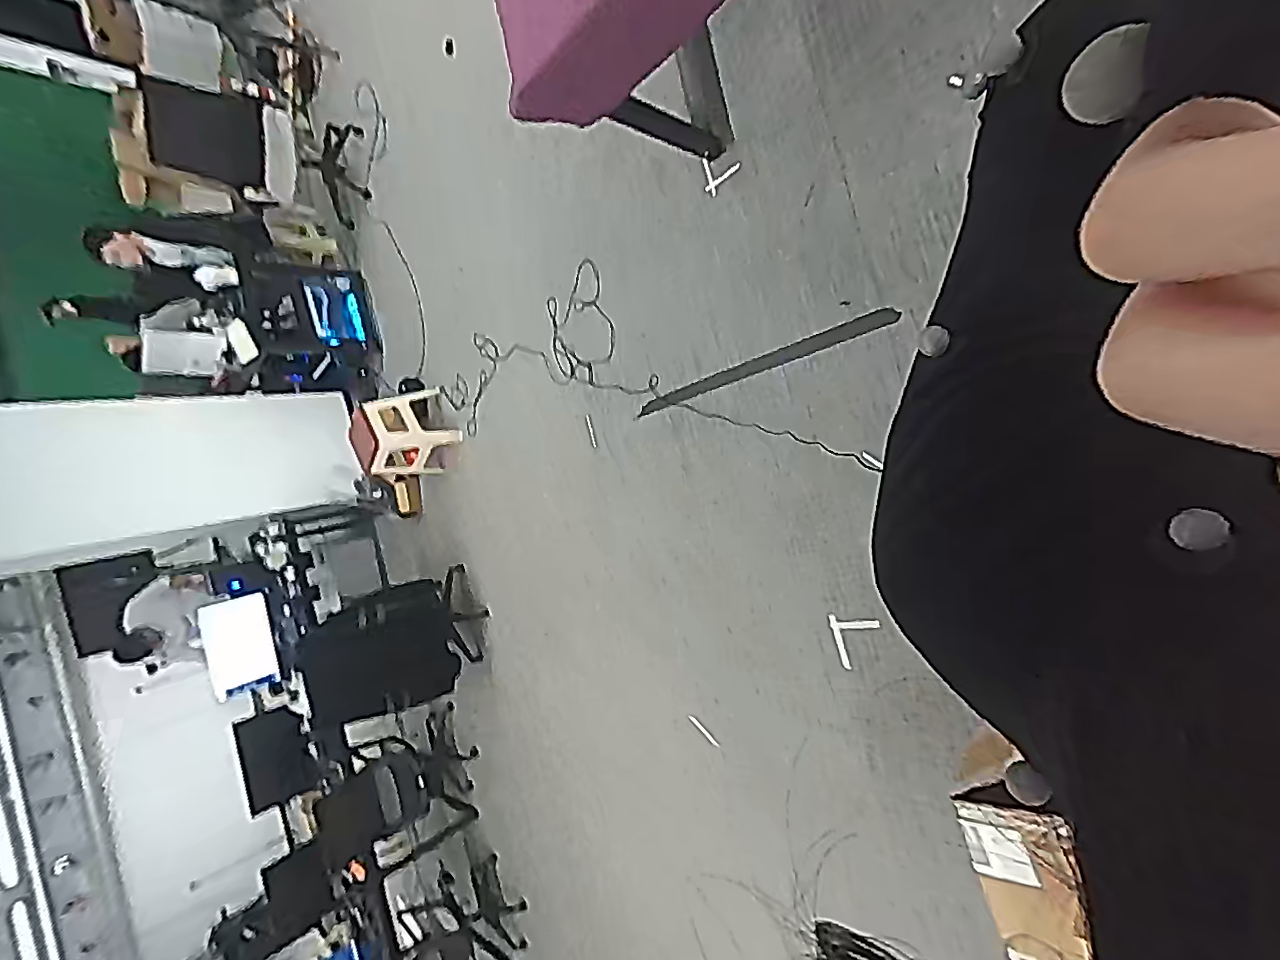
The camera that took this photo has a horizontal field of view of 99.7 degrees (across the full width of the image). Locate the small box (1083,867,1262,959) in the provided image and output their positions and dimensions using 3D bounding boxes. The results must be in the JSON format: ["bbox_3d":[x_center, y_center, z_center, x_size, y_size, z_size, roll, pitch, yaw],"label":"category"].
[{"bbox_3d":[0.783,0.707,0.783,0.179,0.176,0.168,-24,84,44],"label":"small box"}]
